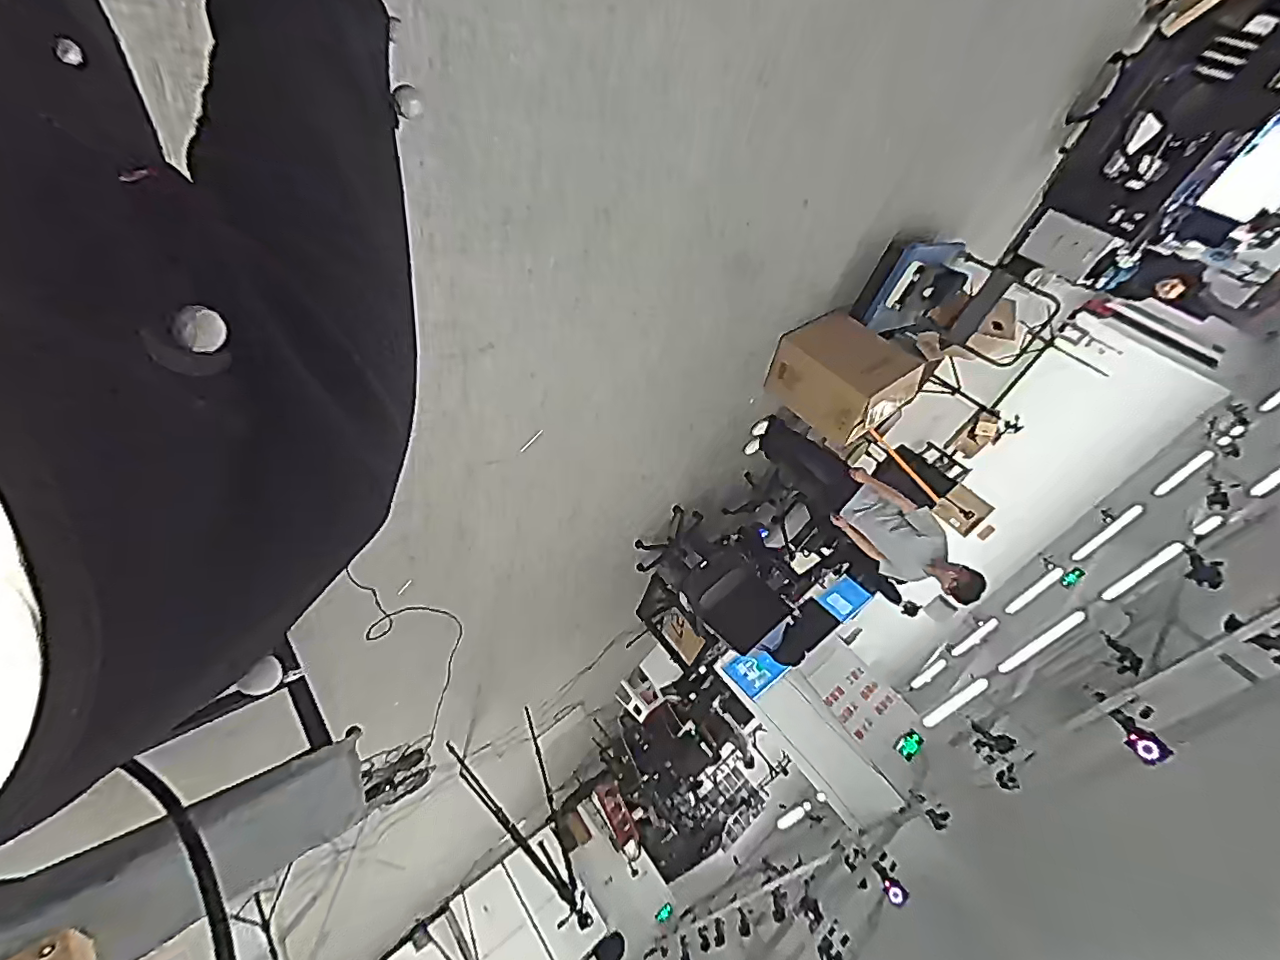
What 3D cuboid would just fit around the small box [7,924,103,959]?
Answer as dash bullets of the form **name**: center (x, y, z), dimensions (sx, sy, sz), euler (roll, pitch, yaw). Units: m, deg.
- **small box**: center (-1.303, 1.121, 1.176), dimensions (0.168, 0.176, 0.179), euler (-20, 146, -39)
